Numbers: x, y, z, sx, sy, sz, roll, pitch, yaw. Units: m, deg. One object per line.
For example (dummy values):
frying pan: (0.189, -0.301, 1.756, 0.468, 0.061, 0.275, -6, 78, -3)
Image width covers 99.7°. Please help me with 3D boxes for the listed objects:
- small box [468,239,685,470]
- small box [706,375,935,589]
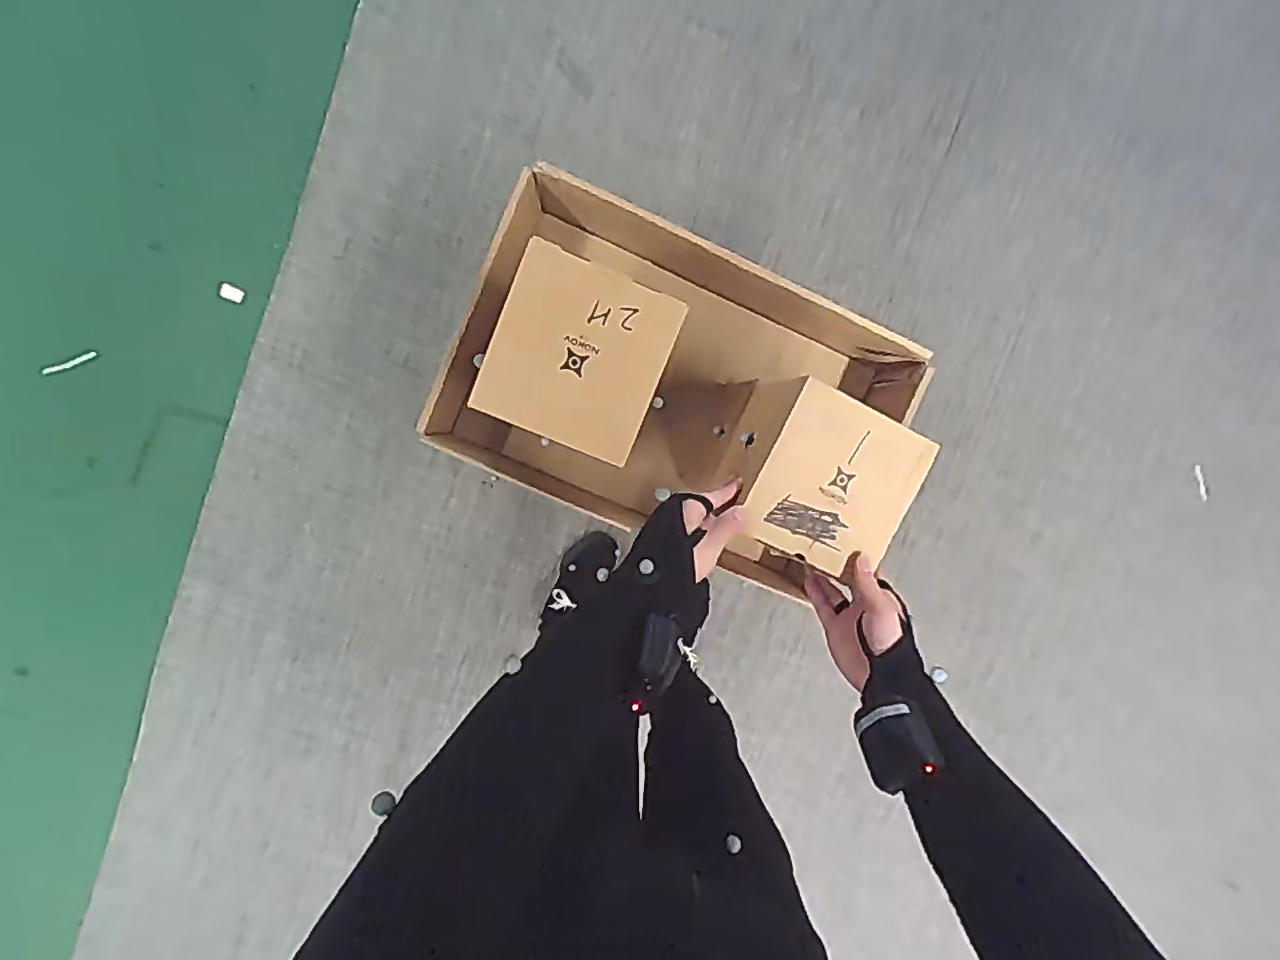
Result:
small box: (-0.066, -0.128, 0.603, 0.168, 0.176, 0.179, 22, 95, -7)
small box: (0.191, -0.004, 0.636, 0.168, 0.176, 0.179, 26, 94, -8)
